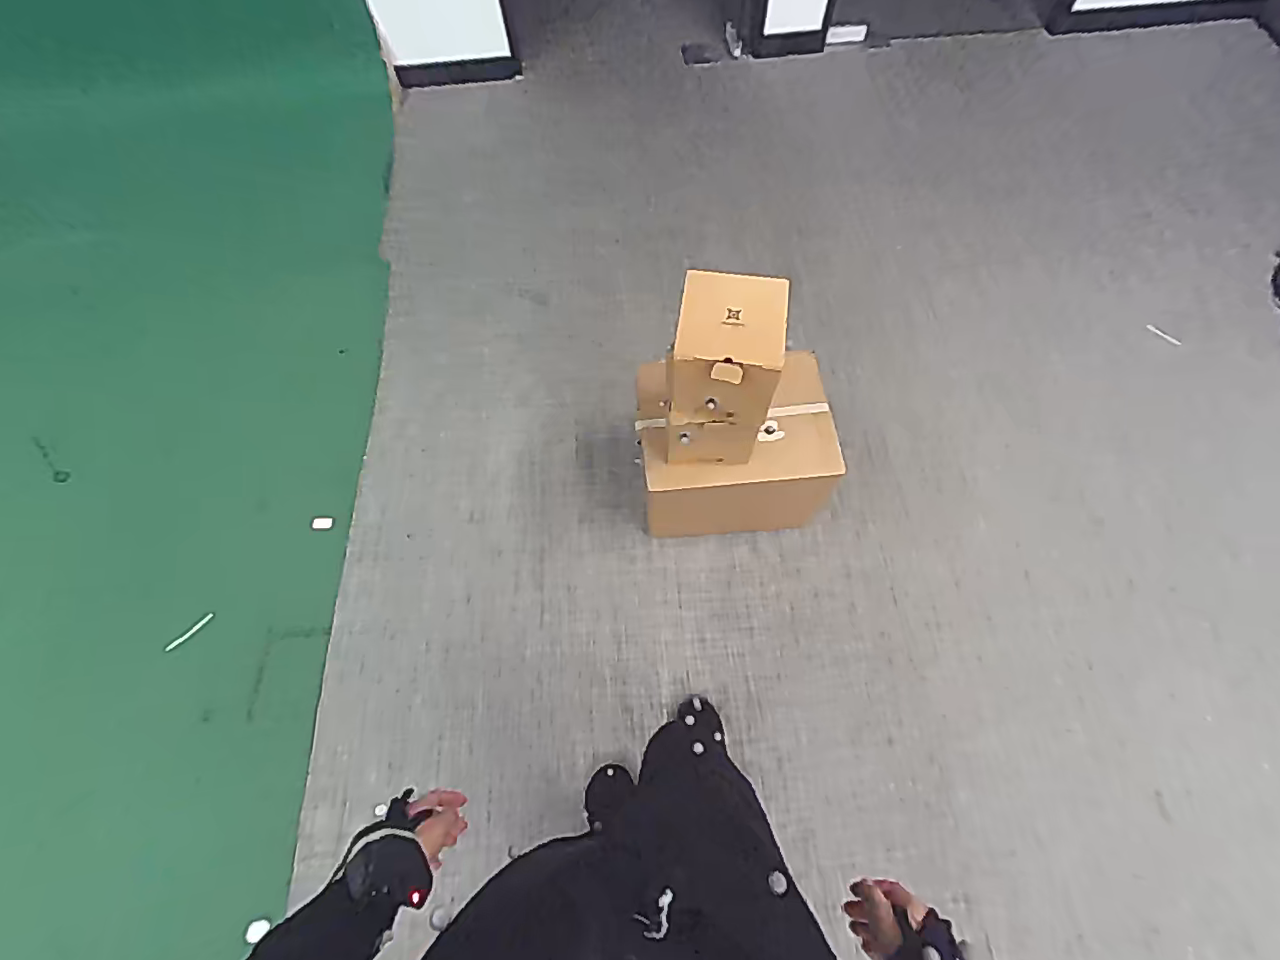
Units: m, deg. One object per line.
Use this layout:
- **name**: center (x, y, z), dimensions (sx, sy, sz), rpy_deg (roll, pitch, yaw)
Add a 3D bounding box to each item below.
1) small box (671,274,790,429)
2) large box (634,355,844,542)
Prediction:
- **small box**: center (0.145, -0.209, 0.899), dimensions (0.168, 0.176, 0.179), rpy_deg (8, 66, 5)
- **large box**: center (0.202, -0.061, 1.278), dimensions (0.408, 0.320, 0.320), rpy_deg (-5, 66, -2)
